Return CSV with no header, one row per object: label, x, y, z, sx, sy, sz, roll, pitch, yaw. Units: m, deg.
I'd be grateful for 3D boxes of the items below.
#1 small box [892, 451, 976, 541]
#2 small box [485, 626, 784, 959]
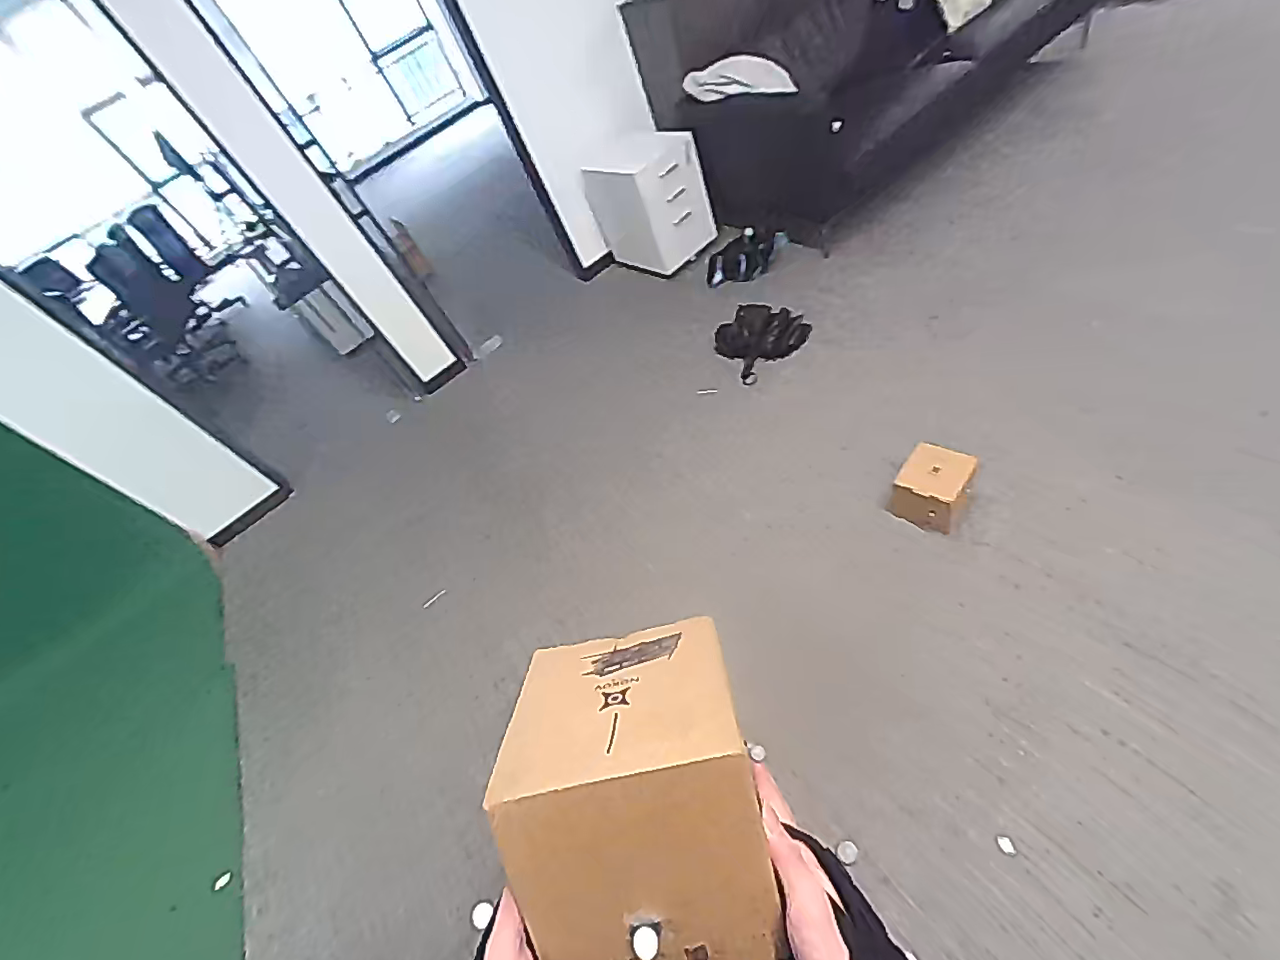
small box,0.871,0.050,1.606,0.168,0.176,0.179,25,64,39
small box,0.003,0.242,0.422,0.168,0.176,0.179,-13,13,4
